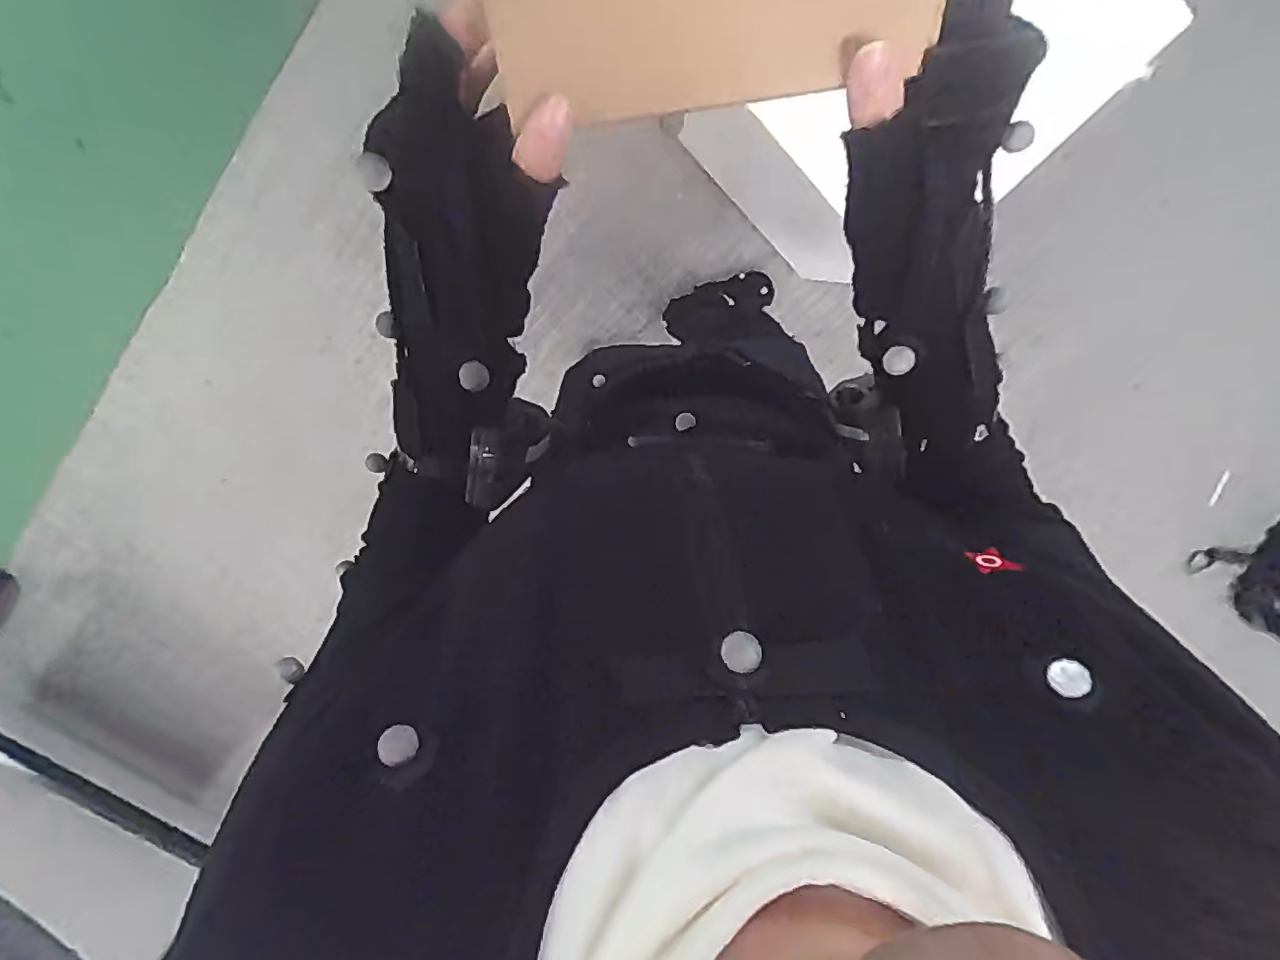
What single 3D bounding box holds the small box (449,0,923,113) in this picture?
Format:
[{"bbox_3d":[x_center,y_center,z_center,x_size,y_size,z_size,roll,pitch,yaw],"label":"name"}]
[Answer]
[{"bbox_3d":[0.007,-0.262,0.213,0.168,0.176,0.179,-7,127,4],"label":"small box"}]
